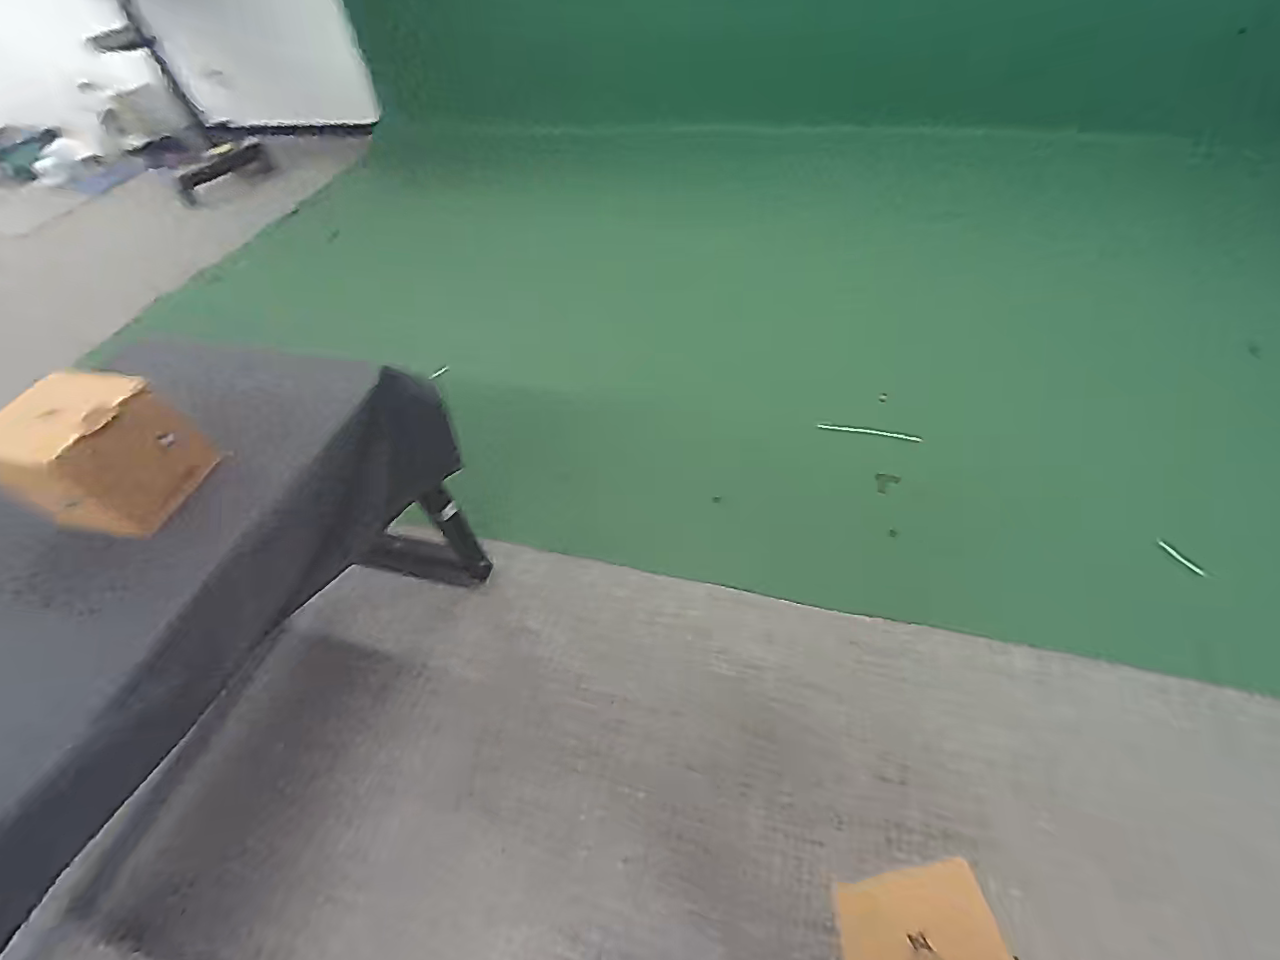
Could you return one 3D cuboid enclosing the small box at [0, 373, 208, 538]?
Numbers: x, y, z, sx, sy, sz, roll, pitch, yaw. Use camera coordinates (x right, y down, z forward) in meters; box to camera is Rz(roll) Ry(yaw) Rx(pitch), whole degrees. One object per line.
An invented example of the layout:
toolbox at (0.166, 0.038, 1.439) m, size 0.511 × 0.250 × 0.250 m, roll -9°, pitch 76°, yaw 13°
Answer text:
small box at (-0.792, -0.032, 0.779) m, size 0.179 × 0.176 × 0.168 m, roll 5°, pitch 51°, yaw 12°
